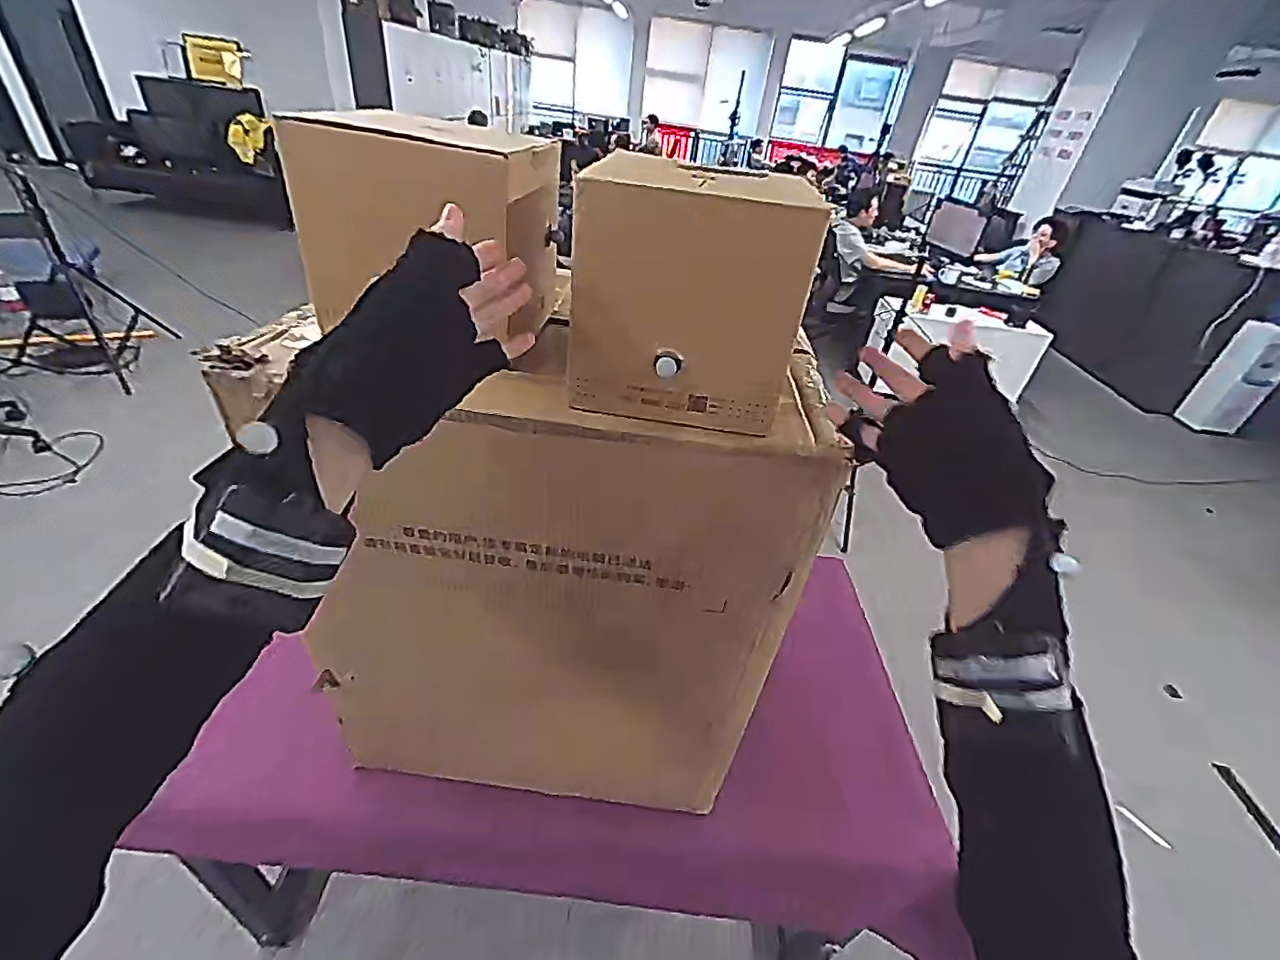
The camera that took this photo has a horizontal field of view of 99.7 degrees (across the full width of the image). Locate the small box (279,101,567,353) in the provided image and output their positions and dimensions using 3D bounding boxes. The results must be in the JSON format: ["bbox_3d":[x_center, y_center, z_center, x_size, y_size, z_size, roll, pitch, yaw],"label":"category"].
[{"bbox_3d":[-0.172,-0.229,0.490,0.179,0.176,0.168,9,34,1],"label":"small box"}]

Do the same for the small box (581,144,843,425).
[{"bbox_3d":[0.047,-0.167,0.449,0.168,0.176,0.179,9,35,3],"label":"small box"}]
